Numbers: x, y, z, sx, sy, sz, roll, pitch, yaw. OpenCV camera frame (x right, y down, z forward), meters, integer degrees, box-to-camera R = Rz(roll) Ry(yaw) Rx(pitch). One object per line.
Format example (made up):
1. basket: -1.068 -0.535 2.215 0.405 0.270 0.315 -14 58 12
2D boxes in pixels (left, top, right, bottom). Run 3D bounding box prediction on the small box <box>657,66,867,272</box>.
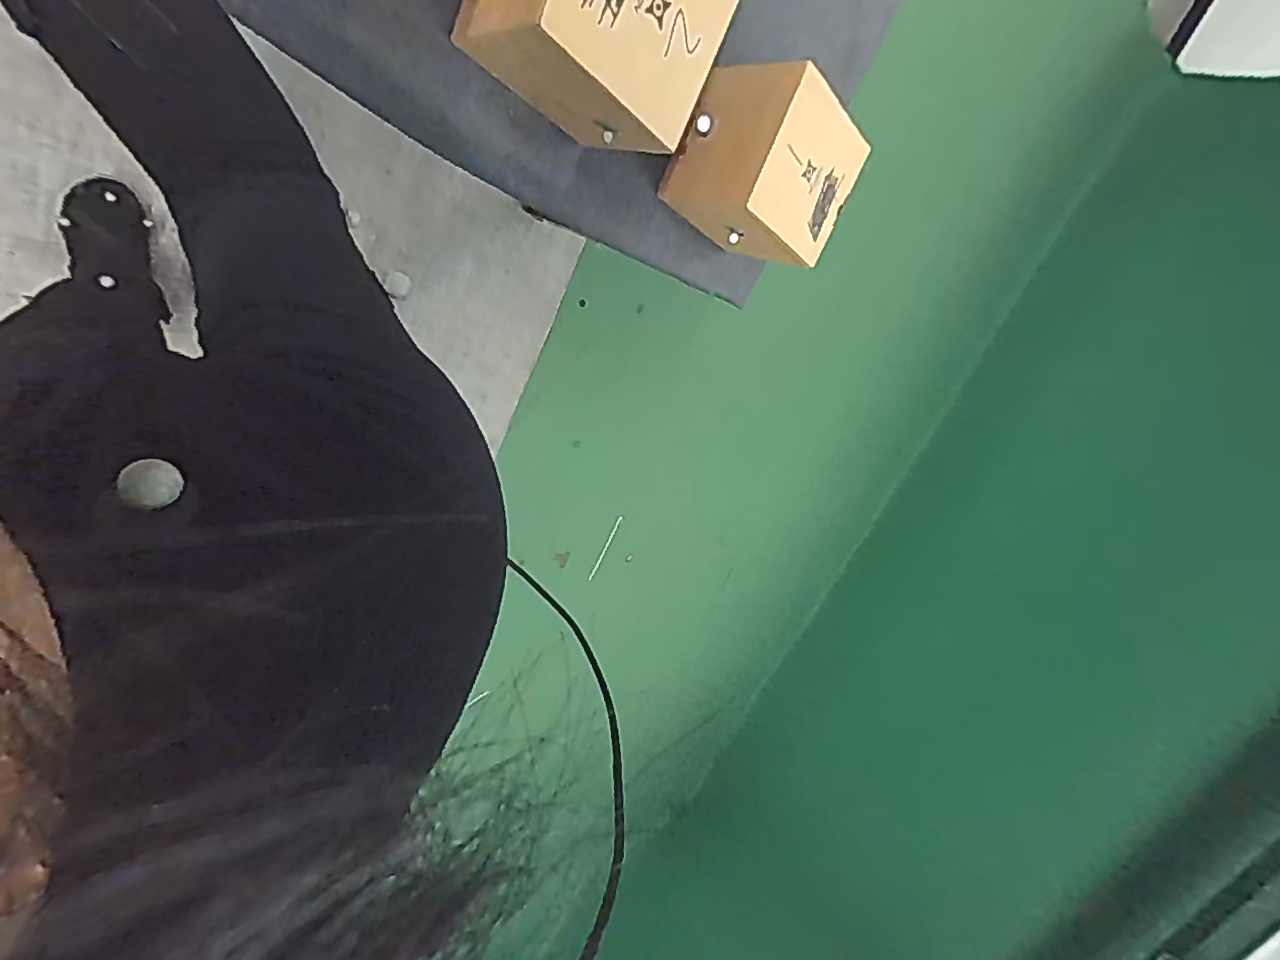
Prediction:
1. small box: 0.158 -0.405 0.717 0.179 0.176 0.168 13 106 -46
